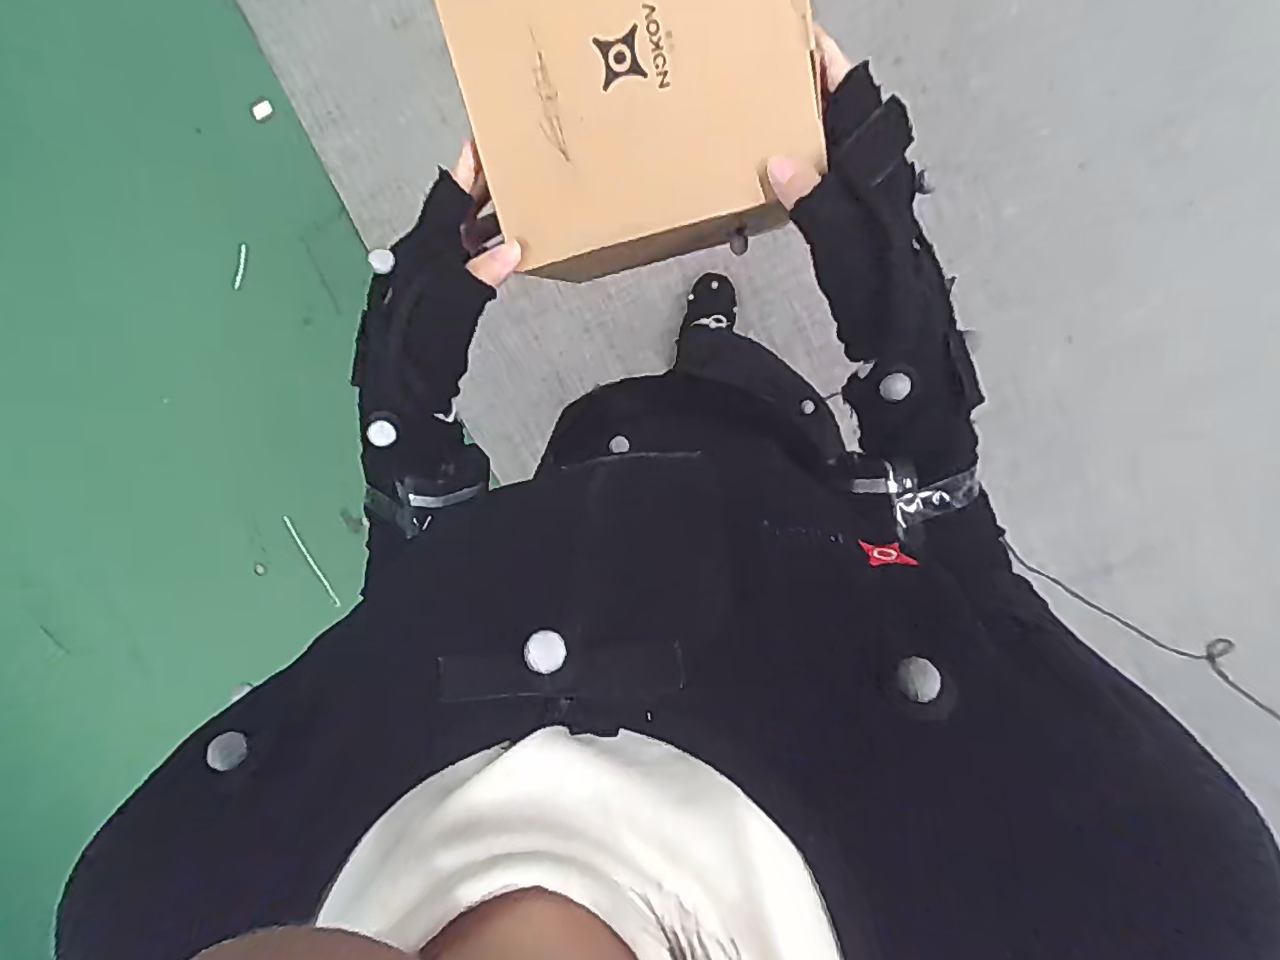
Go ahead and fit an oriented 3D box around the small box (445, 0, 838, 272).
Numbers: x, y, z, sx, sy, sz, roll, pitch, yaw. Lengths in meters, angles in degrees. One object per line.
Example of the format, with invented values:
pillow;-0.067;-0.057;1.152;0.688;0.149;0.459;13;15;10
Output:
small box;0.006;-0.239;0.339;0.179;0.176;0.168;-12;105;11
